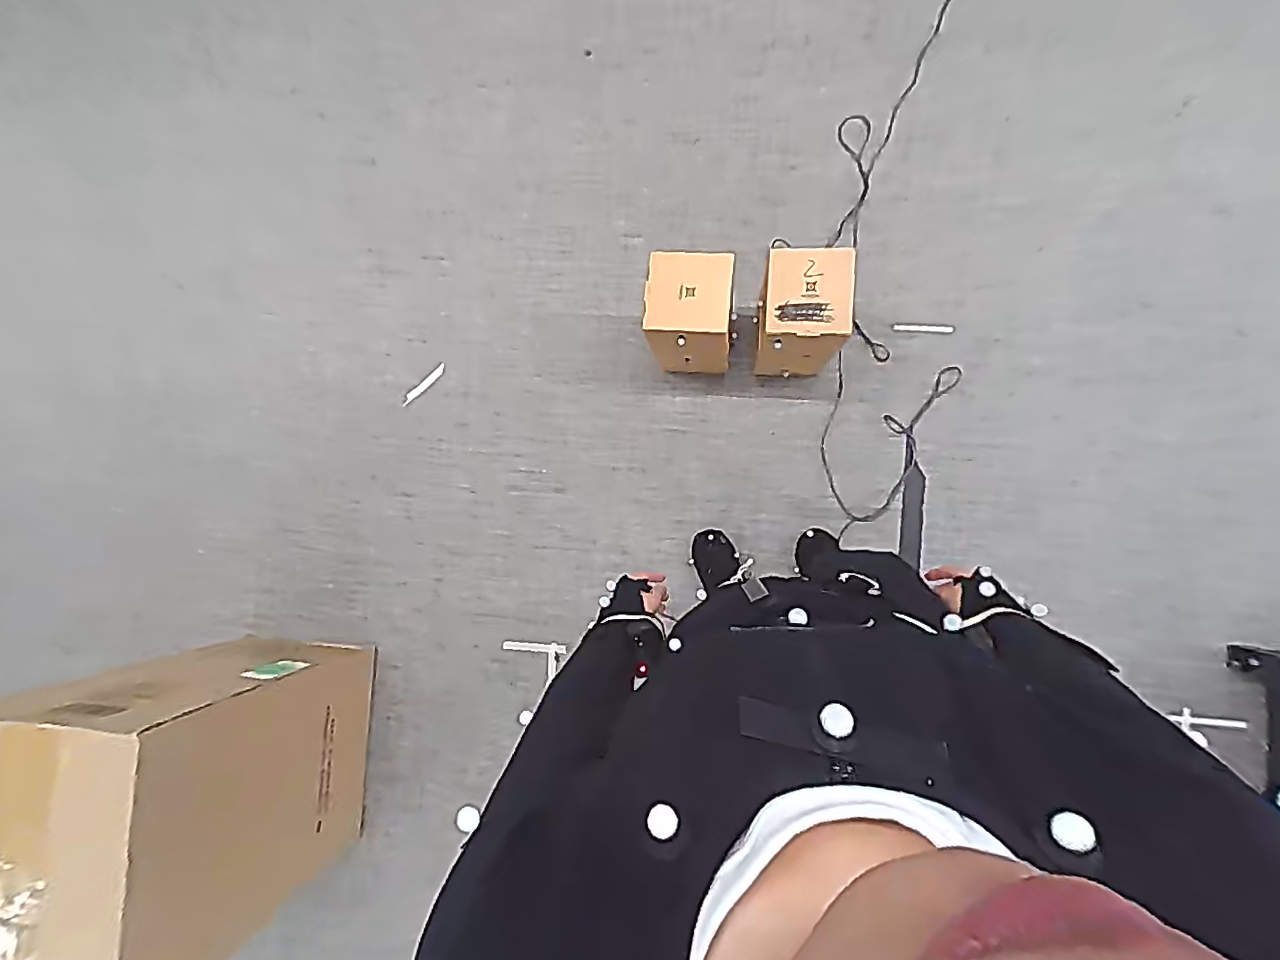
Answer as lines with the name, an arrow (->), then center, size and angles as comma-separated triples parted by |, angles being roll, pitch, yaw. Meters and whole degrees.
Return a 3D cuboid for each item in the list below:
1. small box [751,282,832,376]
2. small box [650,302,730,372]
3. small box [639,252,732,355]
small box -> 0.357, -0.359, 1.302 | 0.168, 0.176, 0.179 | 3, 88, 8
small box -> 0.128, -0.368, 1.335 | 0.179, 0.176, 0.168 | 4, 88, 10
small box -> 0.104, -0.377, 1.176 | 0.179, 0.176, 0.168 | 5, 87, 10
